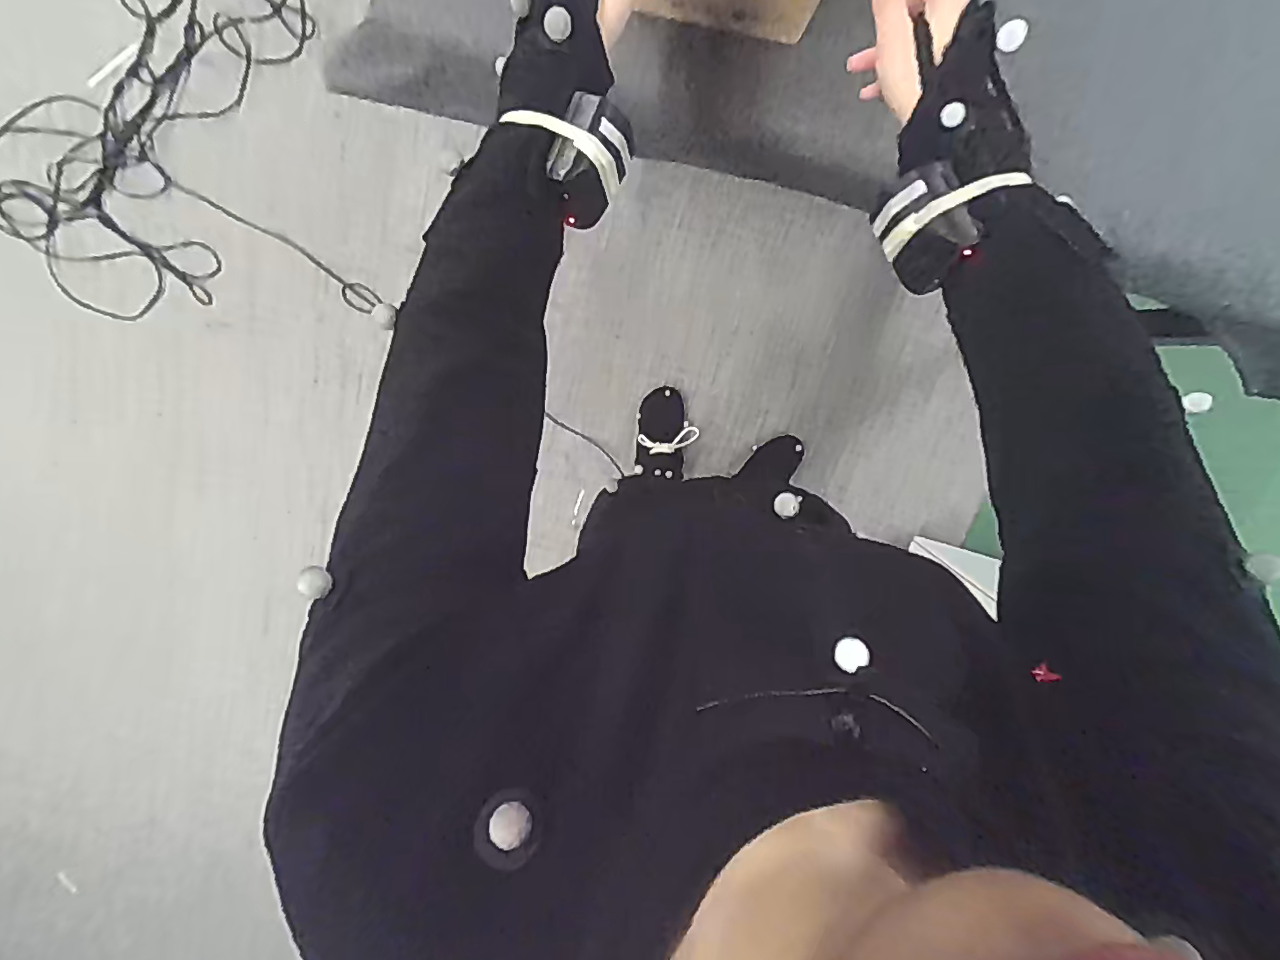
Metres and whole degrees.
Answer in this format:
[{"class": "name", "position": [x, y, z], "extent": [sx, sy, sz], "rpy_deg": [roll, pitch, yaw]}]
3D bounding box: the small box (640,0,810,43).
[{"class": "small box", "position": [0.080, -0.488, 0.417], "extent": [0.168, 0.176, 0.179], "rpy_deg": [10, 103, -2]}]
